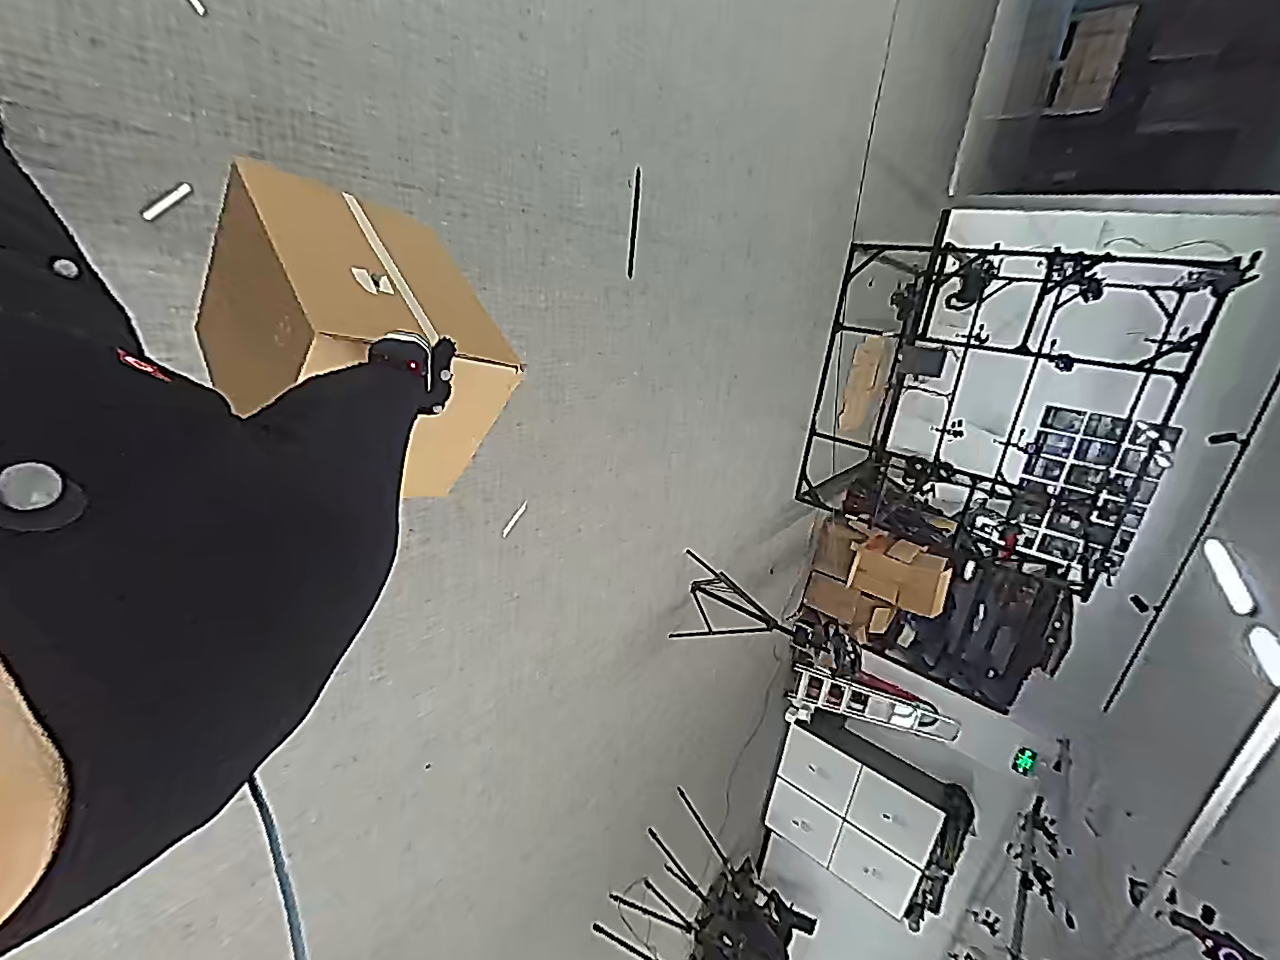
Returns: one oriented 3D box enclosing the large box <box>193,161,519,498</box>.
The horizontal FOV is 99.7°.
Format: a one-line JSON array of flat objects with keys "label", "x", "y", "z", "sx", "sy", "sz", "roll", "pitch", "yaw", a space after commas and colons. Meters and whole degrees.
[{"label": "large box", "x": -0.482, "y": -0.223, "z": 0.902, "sx": 0.320, "sy": 0.408, "sz": 0.320, "roll": -4, "pitch": 142, "yaw": -52}]
